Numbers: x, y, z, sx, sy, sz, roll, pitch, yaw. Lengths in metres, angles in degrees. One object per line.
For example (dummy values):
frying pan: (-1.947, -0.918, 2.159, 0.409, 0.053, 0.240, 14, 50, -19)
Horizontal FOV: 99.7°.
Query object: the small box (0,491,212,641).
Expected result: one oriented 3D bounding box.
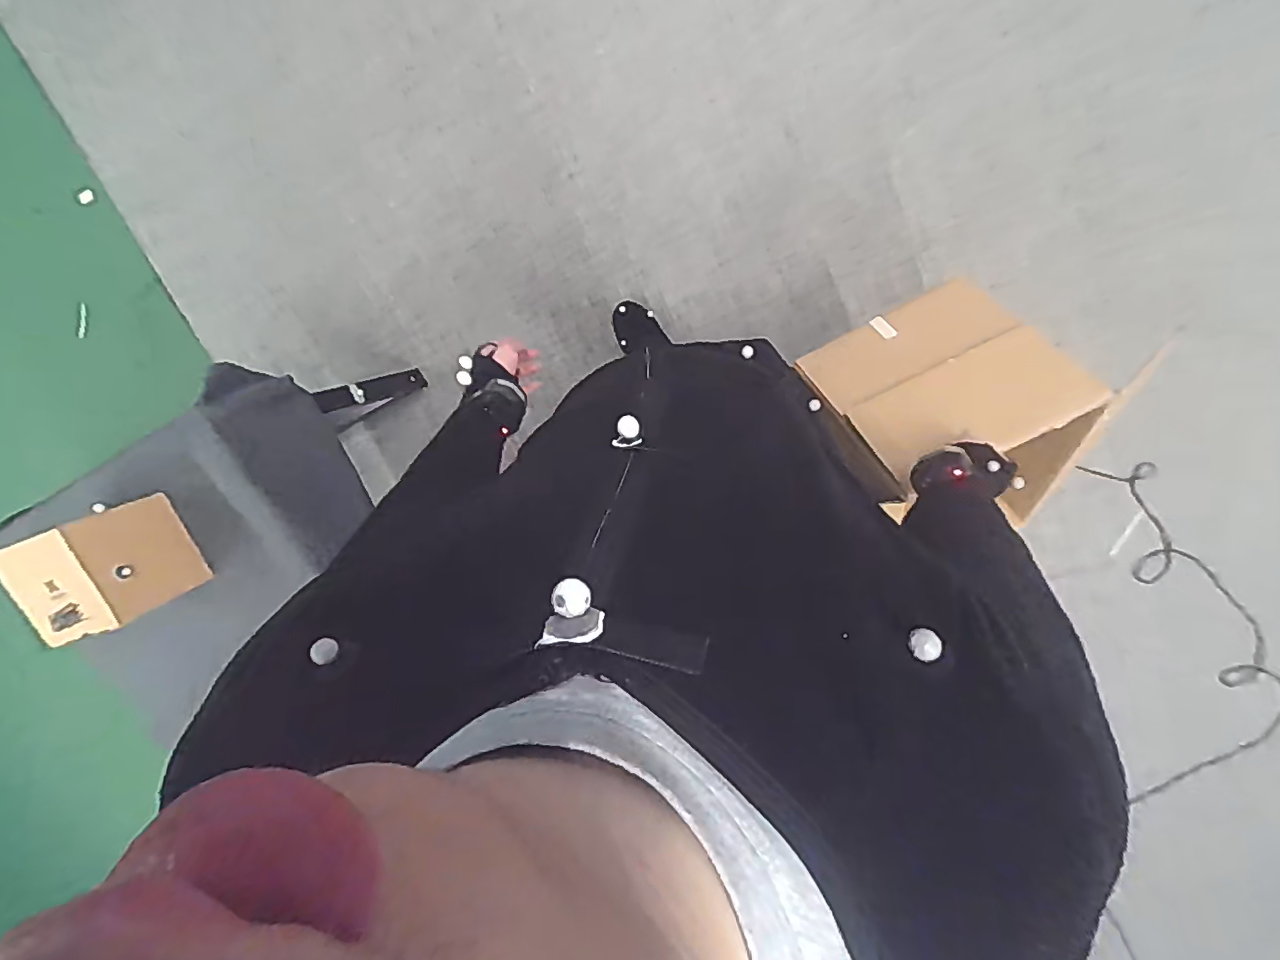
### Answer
small box: (-0.894, 0.141, 0.921, 0.168, 0.176, 0.179, -17, 104, 13)
